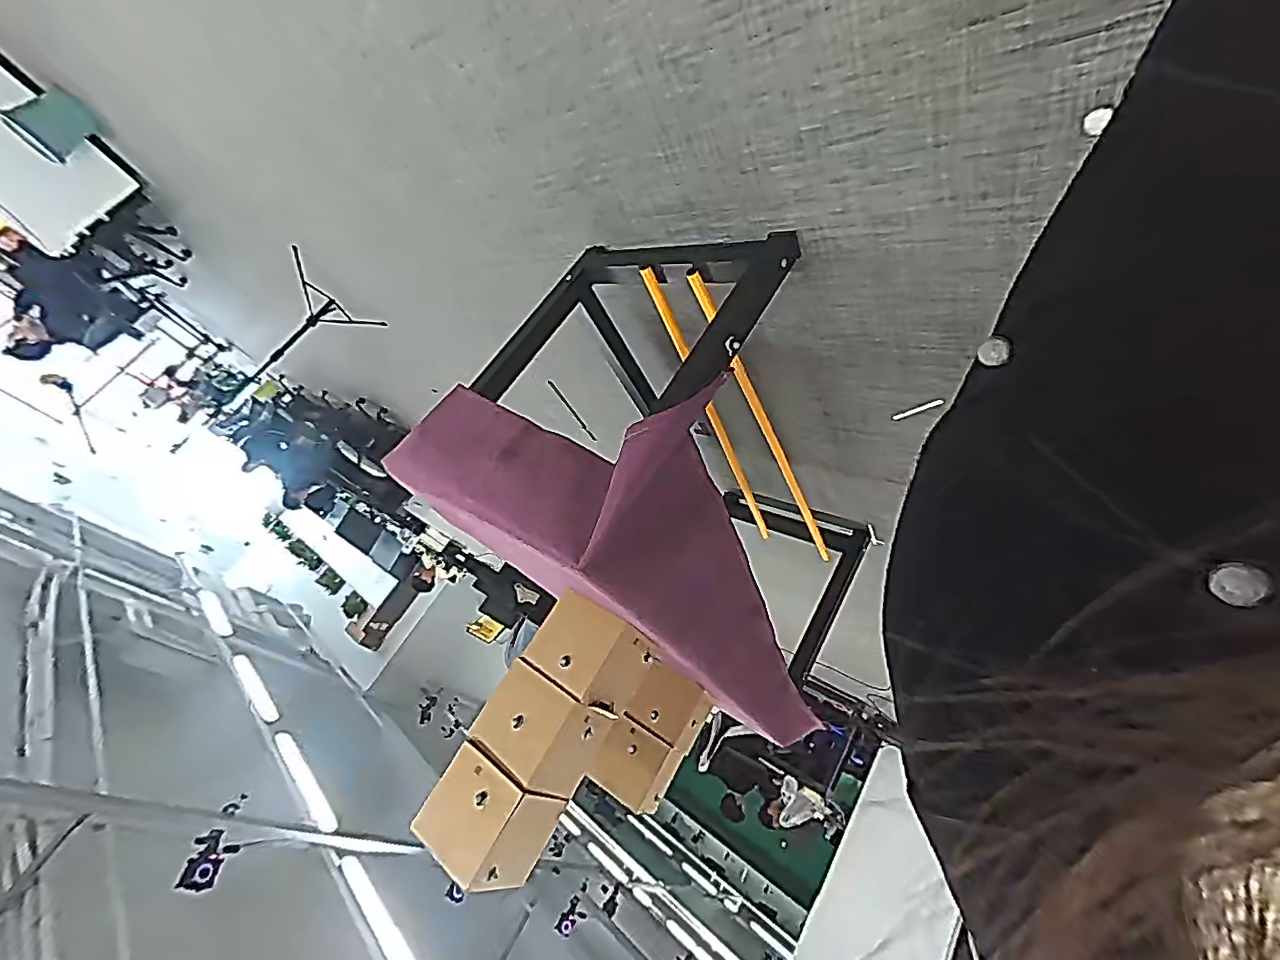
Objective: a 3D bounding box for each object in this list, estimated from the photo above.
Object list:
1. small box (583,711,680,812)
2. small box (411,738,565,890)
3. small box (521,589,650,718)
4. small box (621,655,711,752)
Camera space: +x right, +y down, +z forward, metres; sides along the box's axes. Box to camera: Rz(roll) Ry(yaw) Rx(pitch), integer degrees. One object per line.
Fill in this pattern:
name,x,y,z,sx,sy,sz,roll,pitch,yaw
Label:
small box,-0.013,0.723,1.395,0.168,0.176,0.179,22,158,28
small box,-0.268,0.604,0.990,0.168,0.176,0.179,20,157,34
small box,-0.100,0.347,1.099,0.179,0.176,0.168,20,158,37
small box,0.076,0.596,1.450,0.179,0.176,0.168,23,158,29
